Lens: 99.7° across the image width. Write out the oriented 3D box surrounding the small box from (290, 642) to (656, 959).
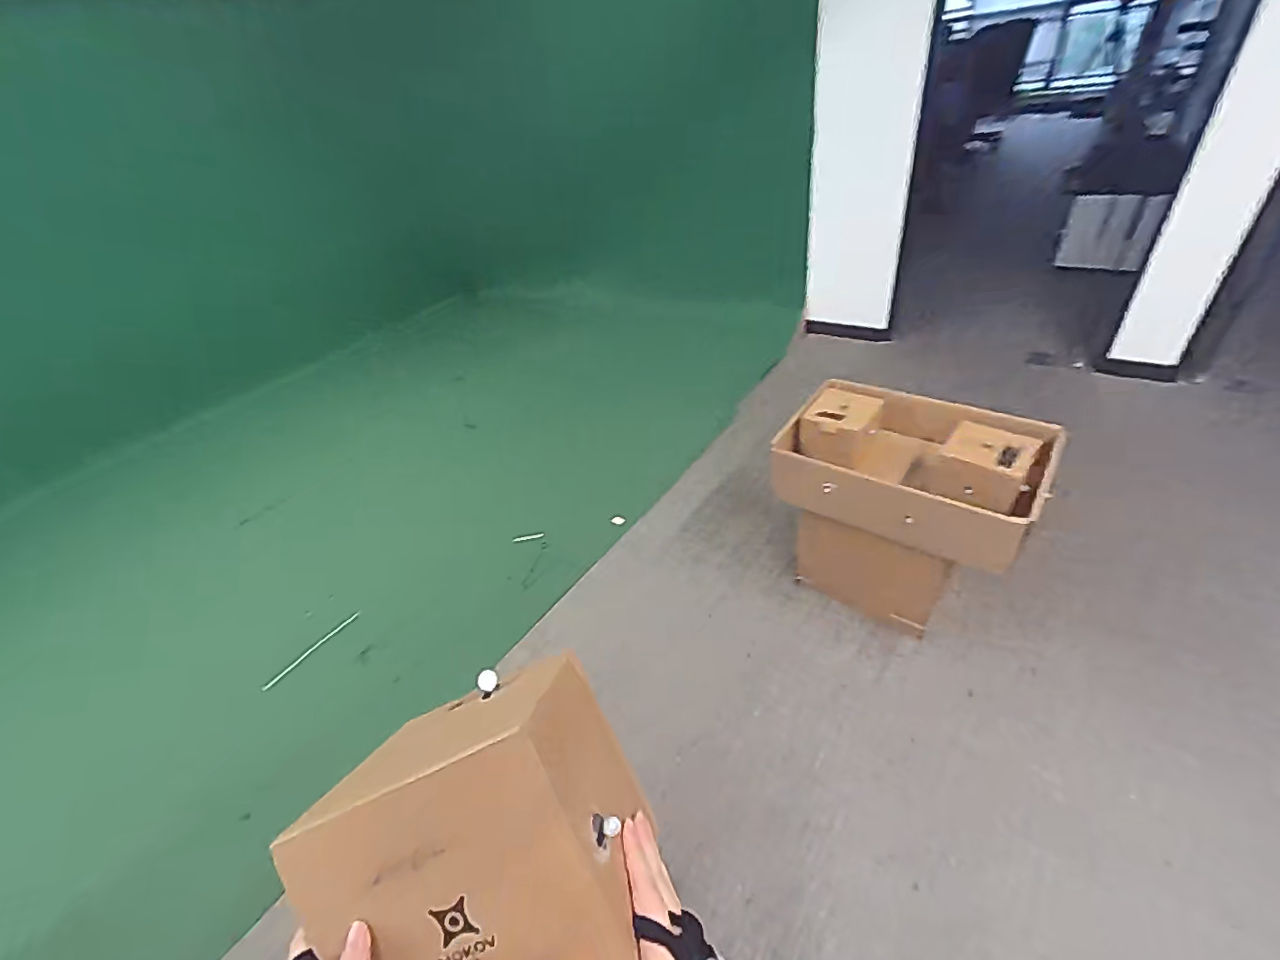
[{"bbox_3d":[-0.095,0.246,0.393,0.168,0.179,0.176,-24,-3,3],"label":"small box"}]
